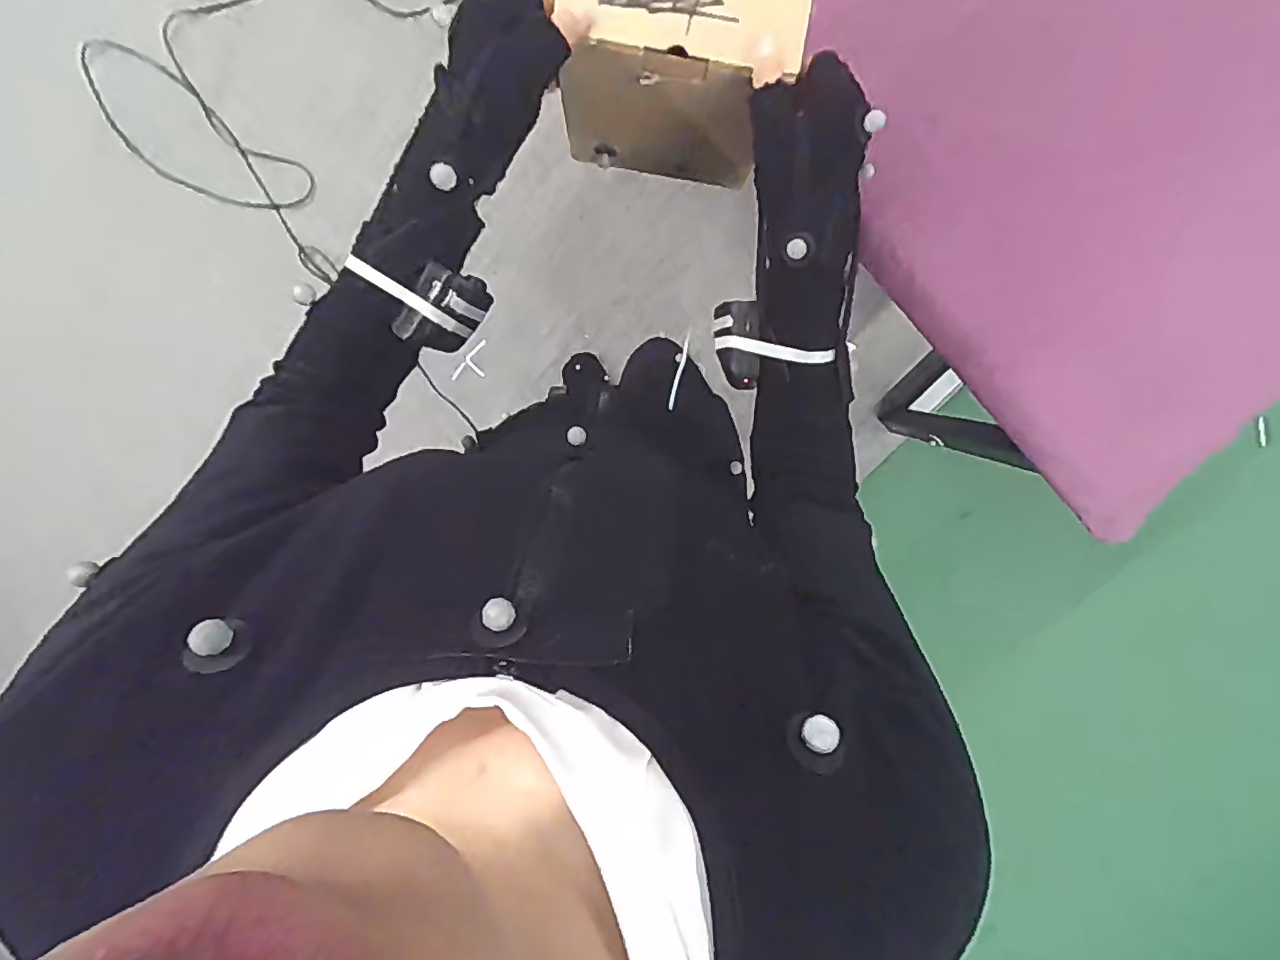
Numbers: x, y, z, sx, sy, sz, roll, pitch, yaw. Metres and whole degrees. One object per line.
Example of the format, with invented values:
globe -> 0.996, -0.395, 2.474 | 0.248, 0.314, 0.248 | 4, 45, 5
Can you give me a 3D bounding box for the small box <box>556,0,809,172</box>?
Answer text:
small box -> 0.037, -0.376, 0.426 | 0.168, 0.176, 0.179 | 8, 95, -3
